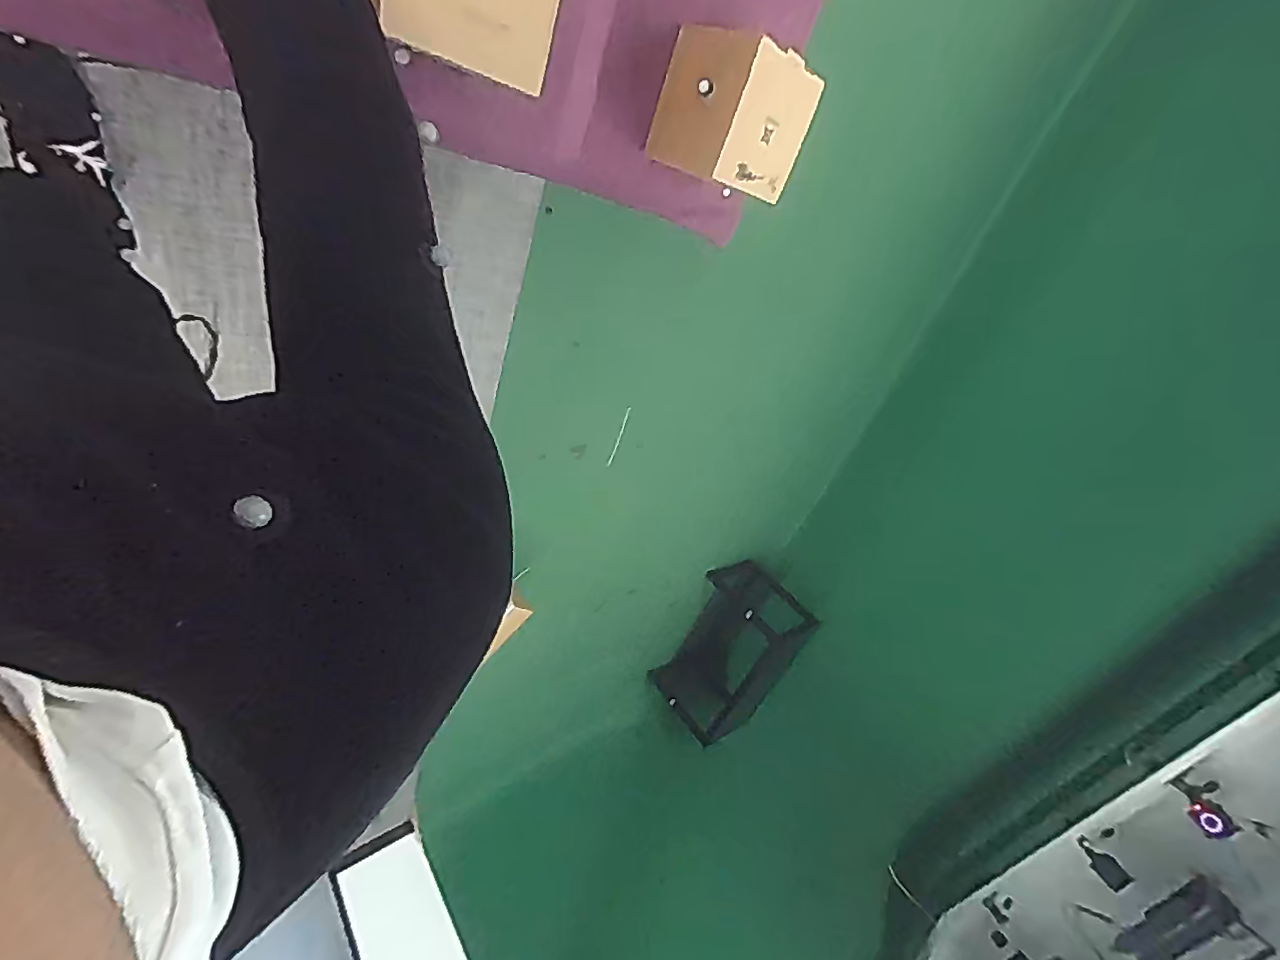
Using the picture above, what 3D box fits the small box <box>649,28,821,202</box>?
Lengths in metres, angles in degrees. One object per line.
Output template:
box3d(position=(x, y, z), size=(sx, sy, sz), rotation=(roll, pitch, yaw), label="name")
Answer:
box3d(position=(0.139, -0.565, 0.841), size=(0.168, 0.176, 0.179), rotation=(-7, 128, -42), label="small box")
